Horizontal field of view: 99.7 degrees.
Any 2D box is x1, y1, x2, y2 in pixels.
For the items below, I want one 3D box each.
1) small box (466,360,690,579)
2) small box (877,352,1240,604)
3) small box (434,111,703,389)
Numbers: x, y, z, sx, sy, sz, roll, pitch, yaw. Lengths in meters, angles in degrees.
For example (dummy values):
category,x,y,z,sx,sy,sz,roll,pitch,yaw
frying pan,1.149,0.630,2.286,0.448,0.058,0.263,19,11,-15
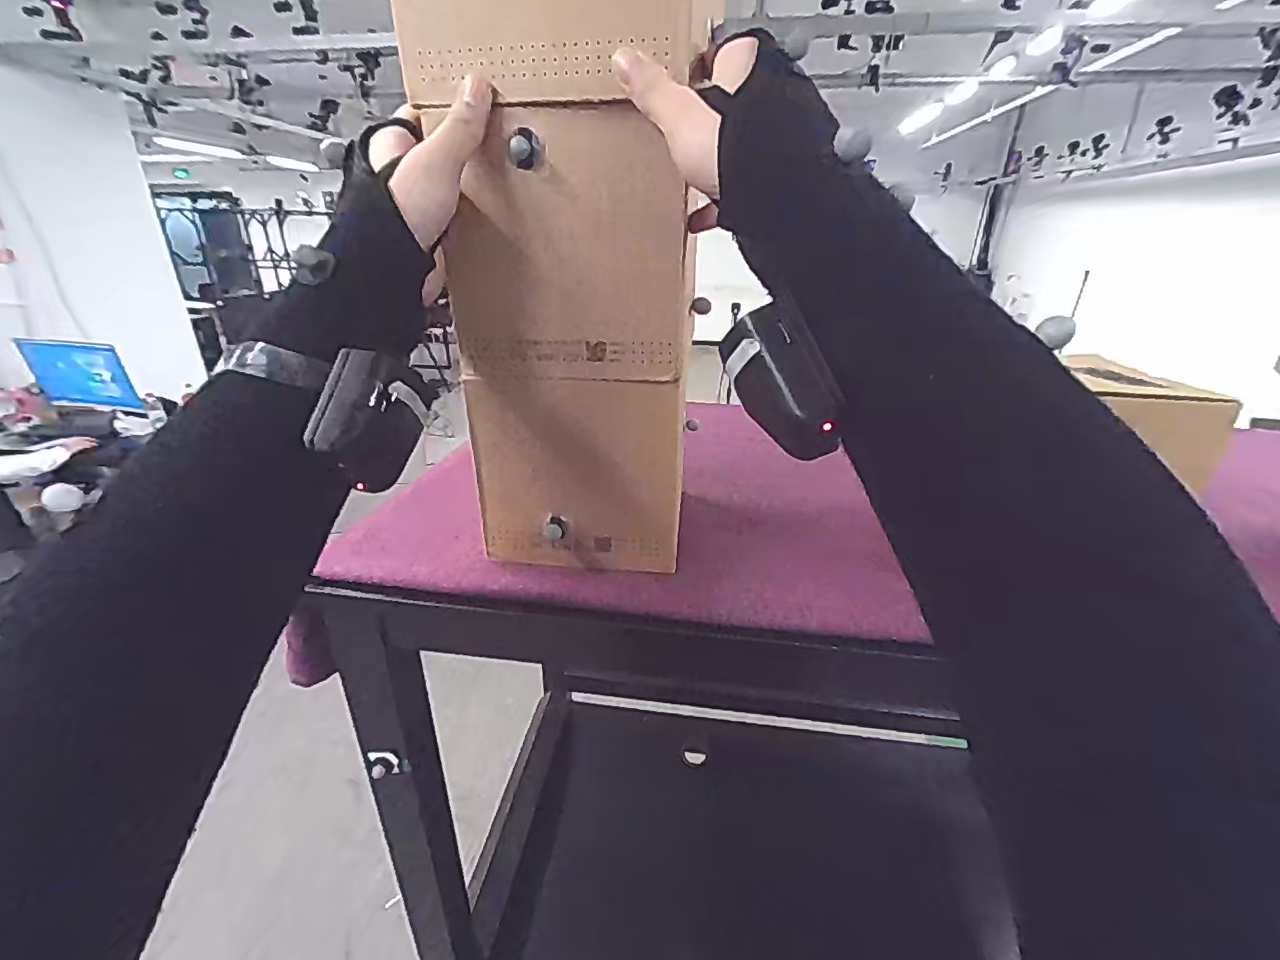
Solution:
category,x,y,z,sx,sy,sz,roll,pitch,yaw
small box,-0.042,-0.030,0.504,0.168,0.176,0.179,3,25,6
small box,0.327,-0.010,0.472,0.179,0.176,0.168,4,22,10
small box,-0.039,-0.178,0.434,0.168,0.176,0.179,3,25,8
